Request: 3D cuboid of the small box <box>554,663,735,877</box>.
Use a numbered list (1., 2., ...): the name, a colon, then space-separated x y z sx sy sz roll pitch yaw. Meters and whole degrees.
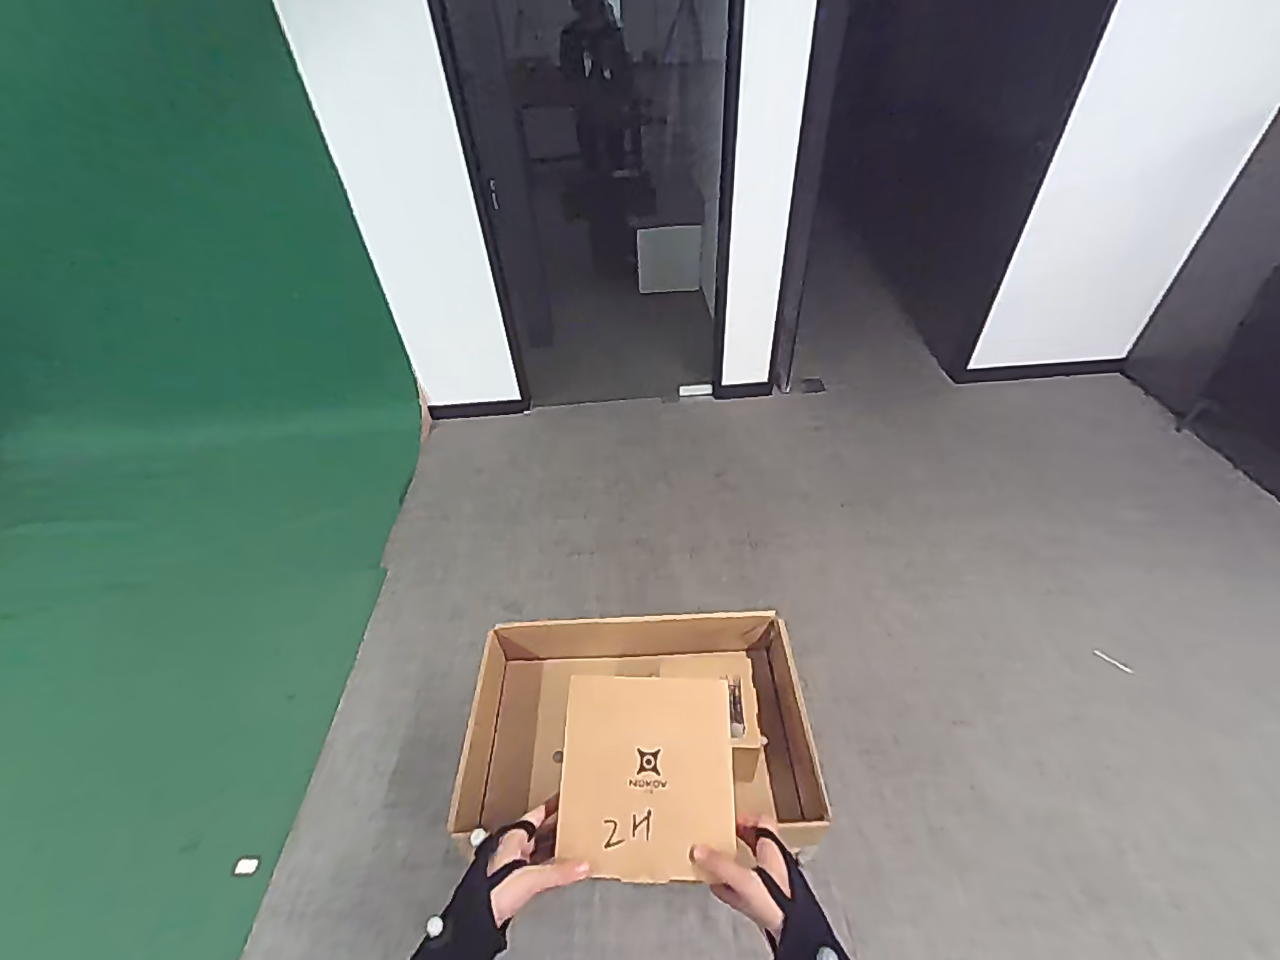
1. small box: 0.008 0.308 0.588 0.168 0.176 0.179 2 62 2
